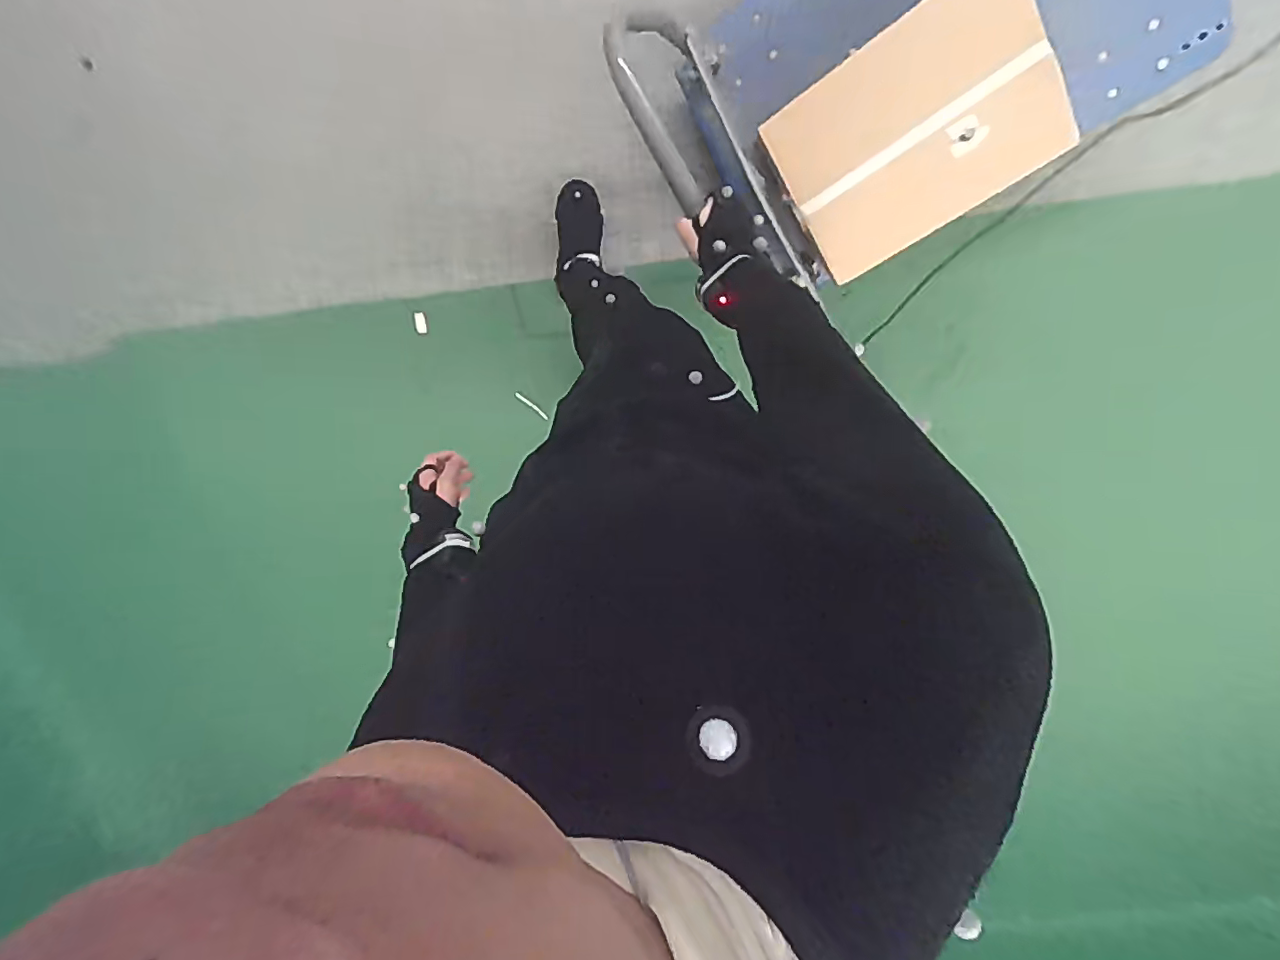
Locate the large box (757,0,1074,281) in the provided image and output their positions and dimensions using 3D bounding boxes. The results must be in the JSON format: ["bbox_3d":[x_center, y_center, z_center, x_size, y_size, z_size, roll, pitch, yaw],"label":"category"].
[{"bbox_3d":[0.469,-0.640,1.014,0.408,0.320,0.320,-27,111,23],"label":"large box"}]
